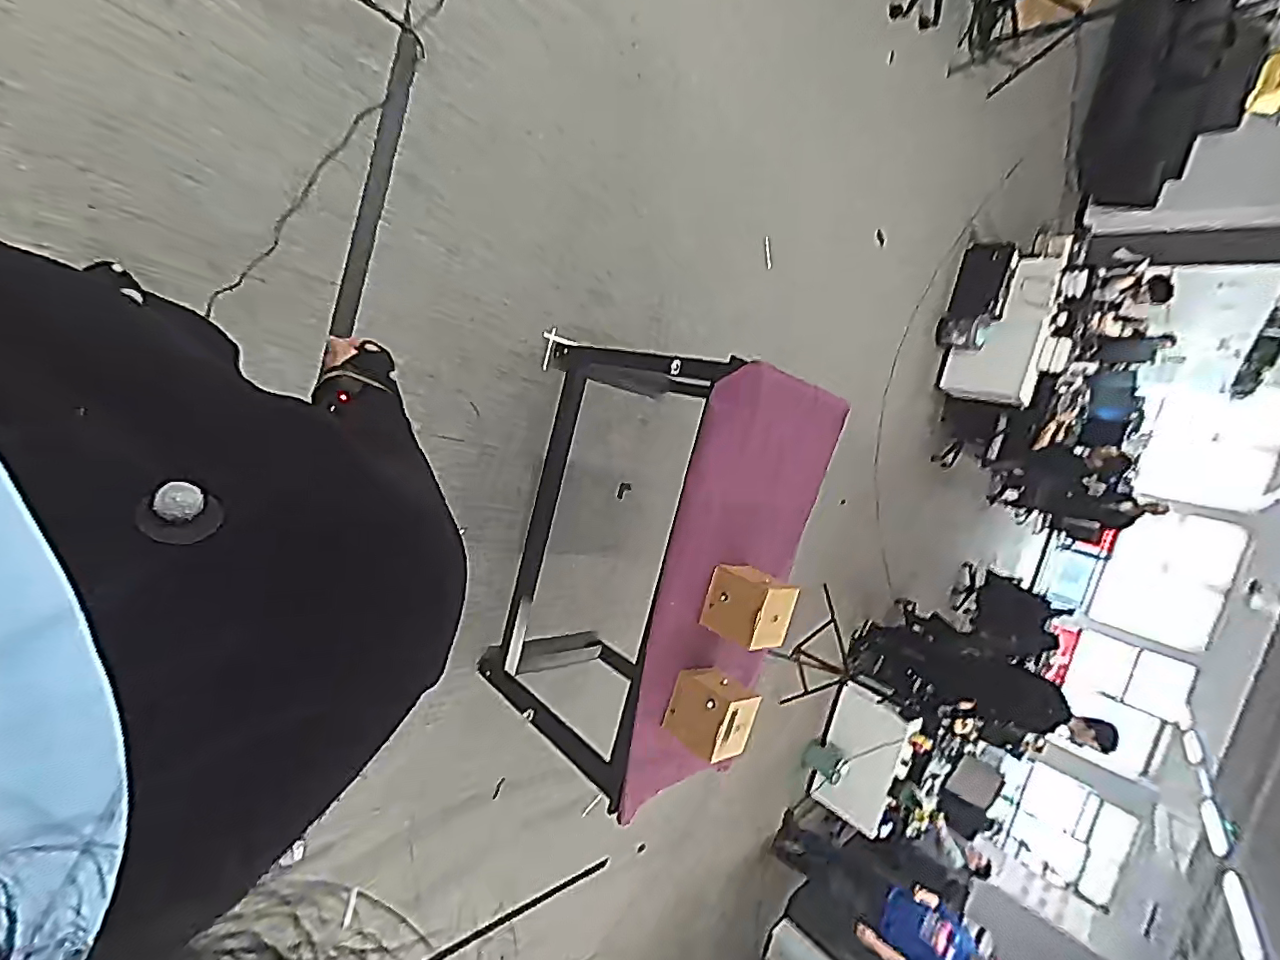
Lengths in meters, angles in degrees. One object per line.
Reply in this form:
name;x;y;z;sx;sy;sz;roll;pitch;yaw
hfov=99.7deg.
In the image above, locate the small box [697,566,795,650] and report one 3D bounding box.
small box;0.286;0.339;1.461;0.179;0.176;0.168;12;96;-47
